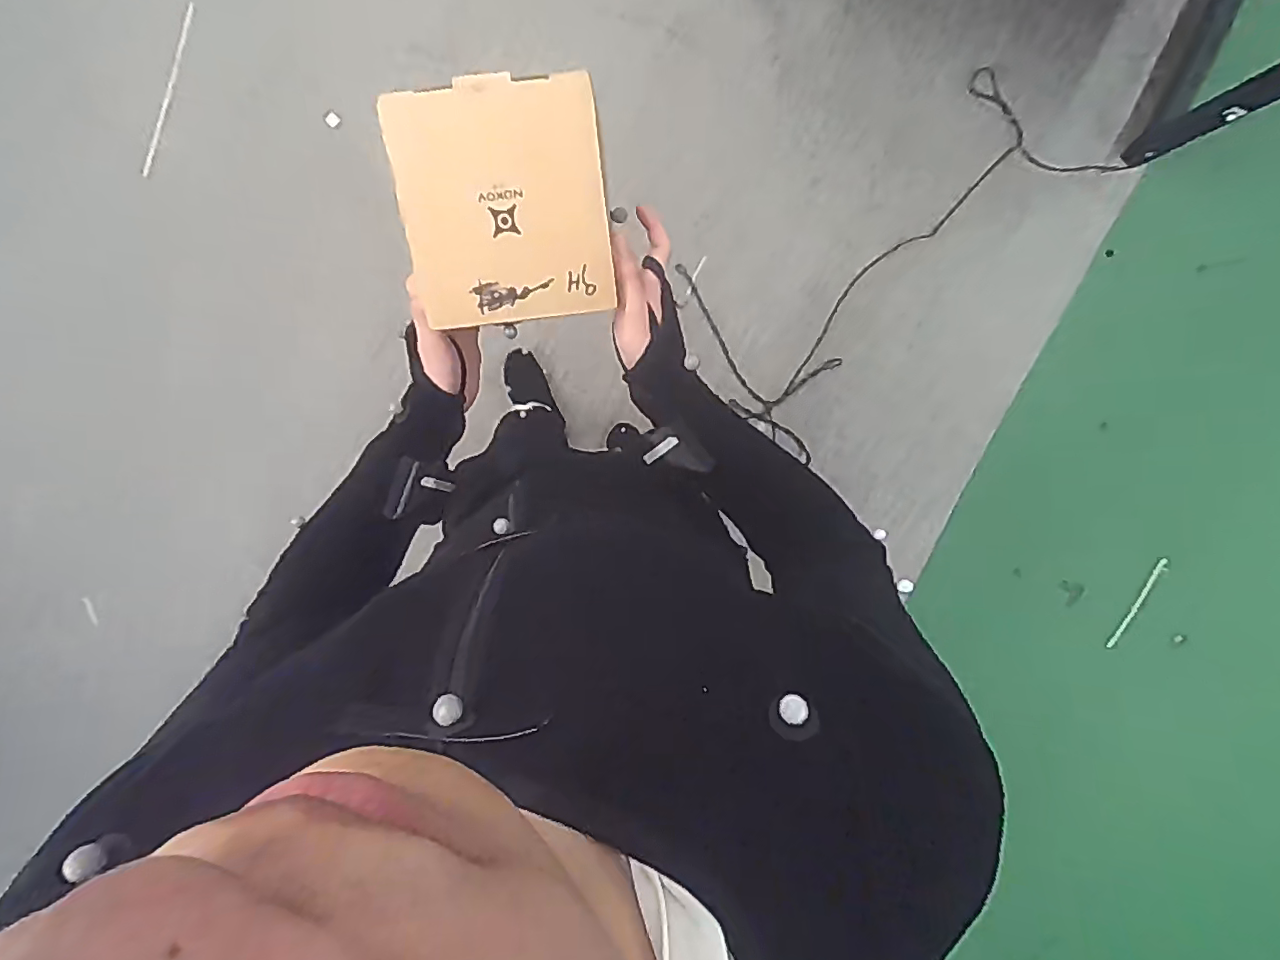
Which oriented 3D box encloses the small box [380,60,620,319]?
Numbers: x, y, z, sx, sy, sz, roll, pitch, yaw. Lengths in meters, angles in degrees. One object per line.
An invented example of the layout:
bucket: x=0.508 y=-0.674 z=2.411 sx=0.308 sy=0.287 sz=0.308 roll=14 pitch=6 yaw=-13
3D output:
small box: x=-0.110 y=-0.250 z=0.507 sx=0.168 sy=0.176 sz=0.179 roll=-6 pitch=109 yaw=2

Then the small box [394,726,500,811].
small box: x=-0.443 y=0.712 z=1.238 sx=0.168 sy=0.176 sz=0.179 roll=29 pitch=97 yaw=-3
